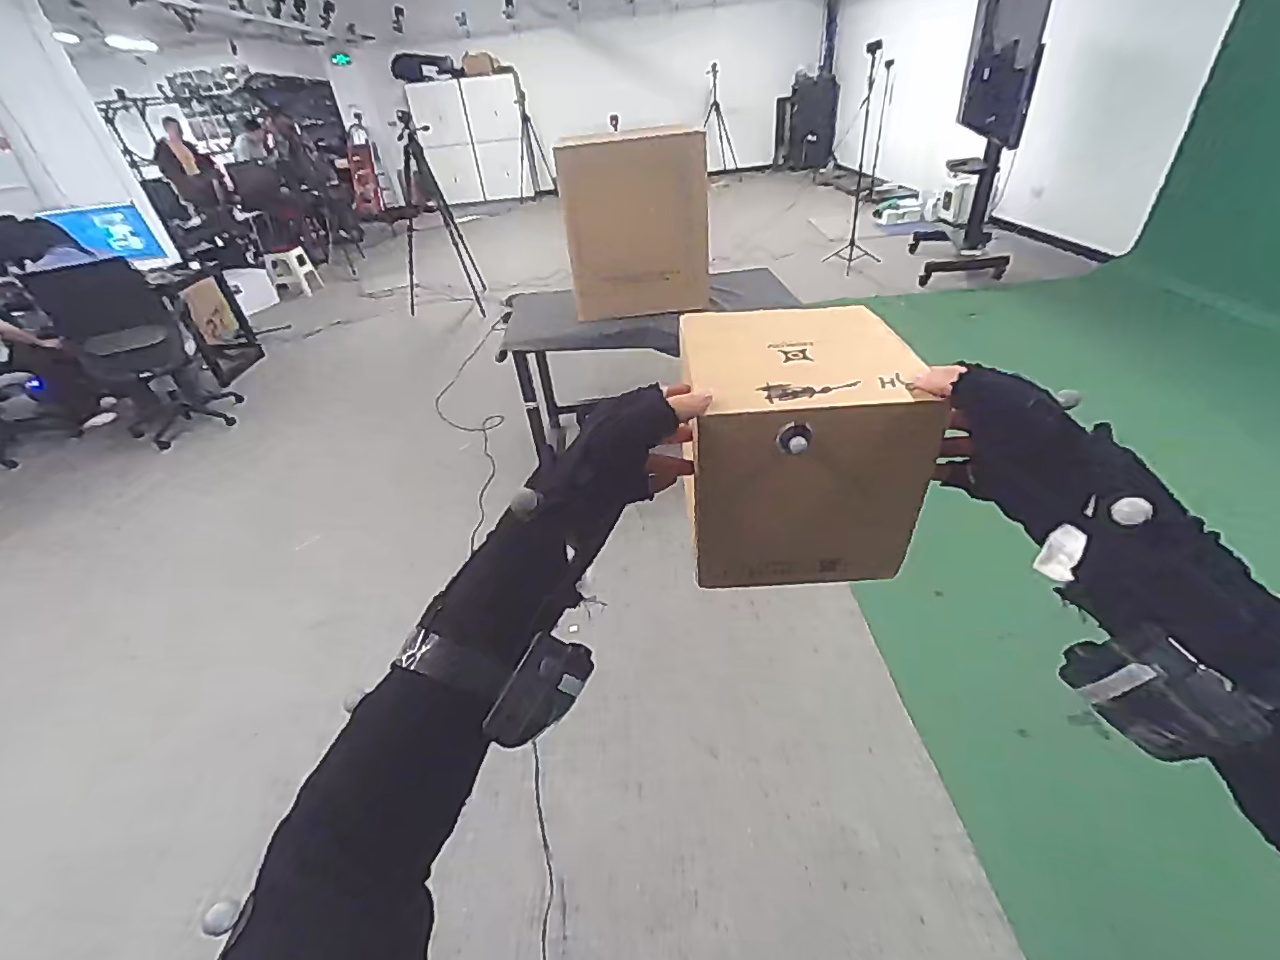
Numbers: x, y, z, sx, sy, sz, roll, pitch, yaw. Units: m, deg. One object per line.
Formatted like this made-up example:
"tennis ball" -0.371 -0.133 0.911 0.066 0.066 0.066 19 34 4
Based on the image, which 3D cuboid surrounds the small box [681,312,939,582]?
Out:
"small box" 0.122 -0.033 0.472 0.168 0.176 0.179 -4 36 2
